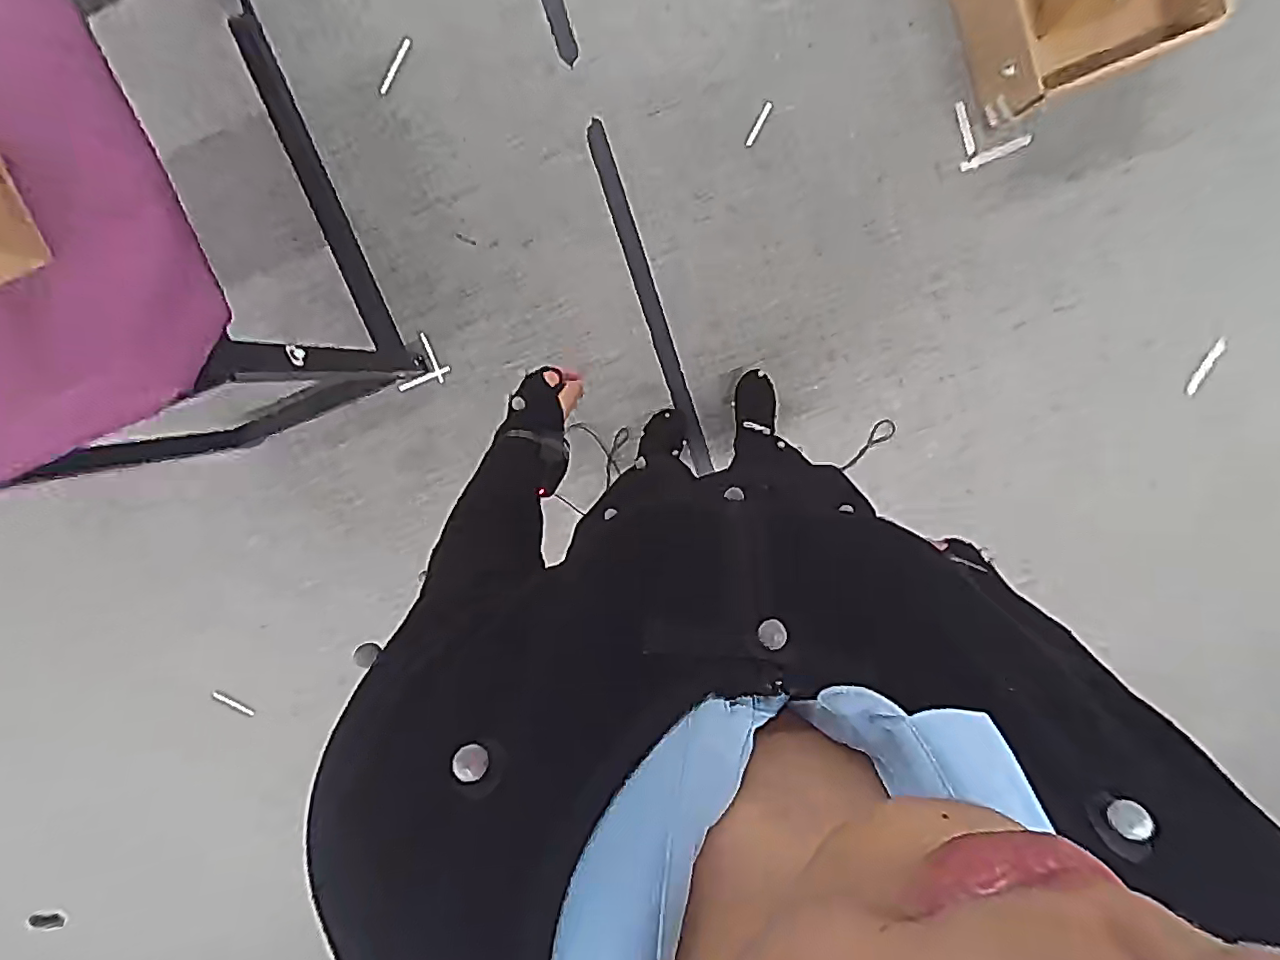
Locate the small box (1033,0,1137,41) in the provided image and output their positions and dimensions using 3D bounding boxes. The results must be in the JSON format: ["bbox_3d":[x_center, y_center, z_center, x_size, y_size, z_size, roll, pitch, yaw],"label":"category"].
[{"bbox_3d":[0.974,-1.086,1.141,0.179,0.176,0.168,-15,99,5],"label":"small box"}]
